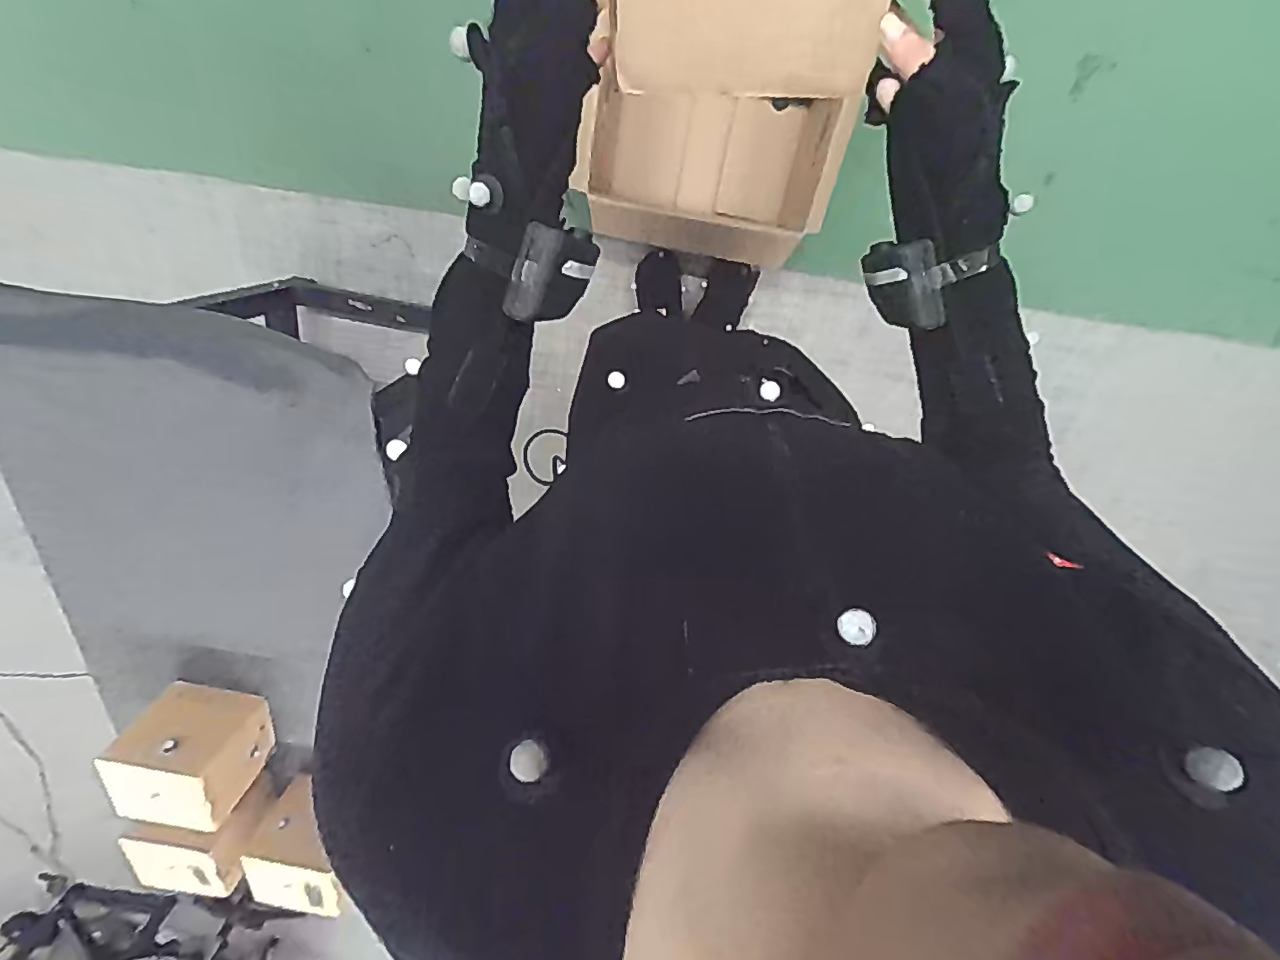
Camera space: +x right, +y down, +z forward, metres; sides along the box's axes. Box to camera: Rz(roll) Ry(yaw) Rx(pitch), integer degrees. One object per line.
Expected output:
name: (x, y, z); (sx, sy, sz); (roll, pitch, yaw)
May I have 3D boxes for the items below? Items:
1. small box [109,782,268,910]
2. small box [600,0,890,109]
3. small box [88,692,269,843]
small box: (-0.890, 0.722, 1.094); (0.179, 0.176, 0.168); (9, 117, 0)
small box: (0.063, -0.369, 0.363); (0.179, 0.176, 0.168); (-2, 137, -4)
small box: (-0.825, 0.516, 0.988); (0.179, 0.176, 0.168); (11, 117, -2)
